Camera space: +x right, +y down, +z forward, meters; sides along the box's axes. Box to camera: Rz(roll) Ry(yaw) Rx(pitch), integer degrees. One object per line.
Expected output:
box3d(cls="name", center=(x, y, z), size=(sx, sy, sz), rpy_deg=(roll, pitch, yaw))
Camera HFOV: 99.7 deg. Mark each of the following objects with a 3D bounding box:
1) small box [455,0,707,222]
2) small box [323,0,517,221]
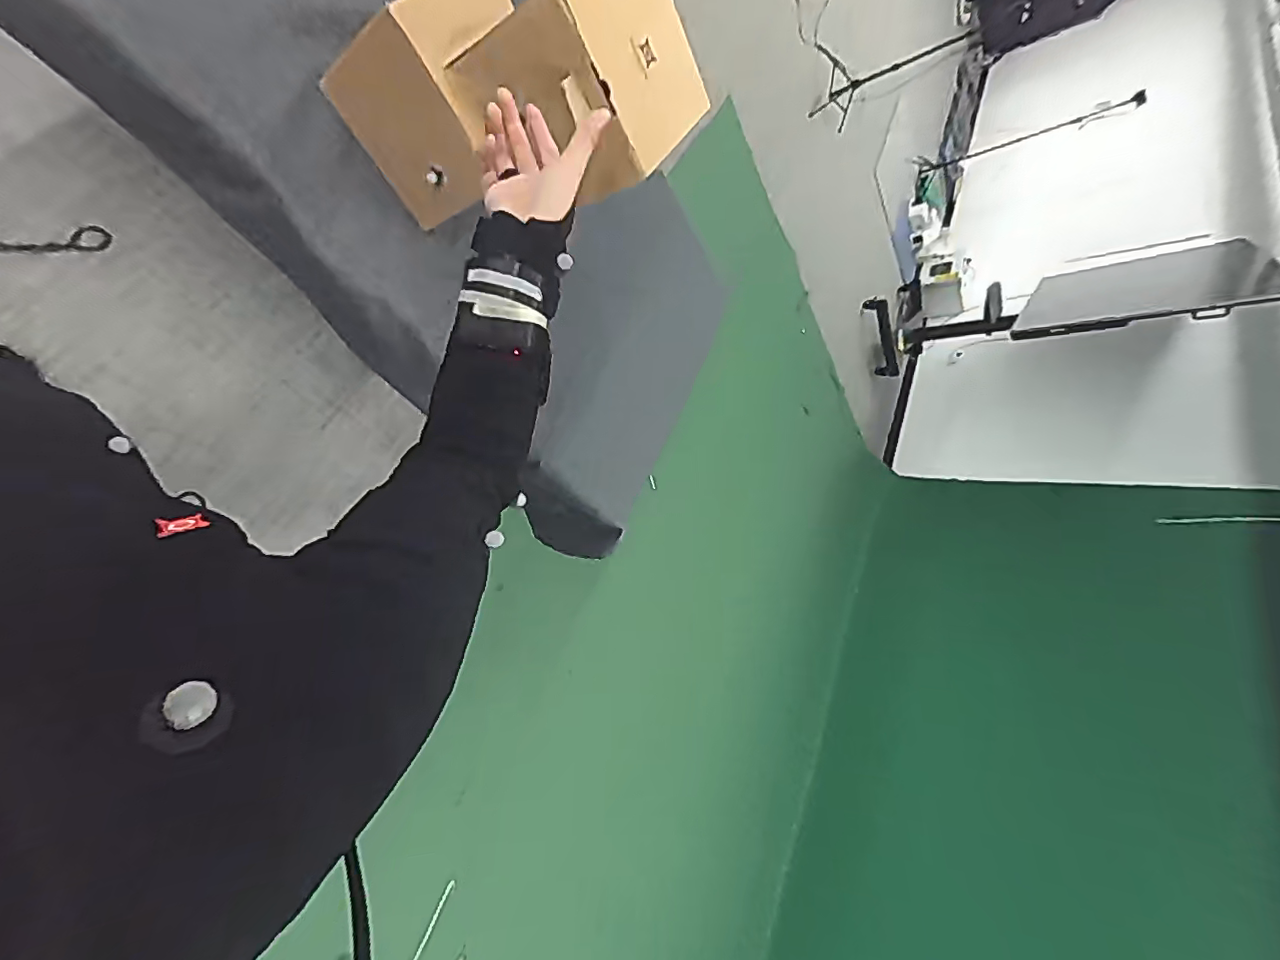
box3d(cls="small box", center=(-0.058, -0.410, 0.576), size=(0.168, 0.176, 0.179), rpy_deg=(55, 52, -37))
box3d(cls="small box", center=(-0.220, -0.430, 0.634), size=(0.179, 0.176, 0.168), rpy_deg=(55, 51, -35))
